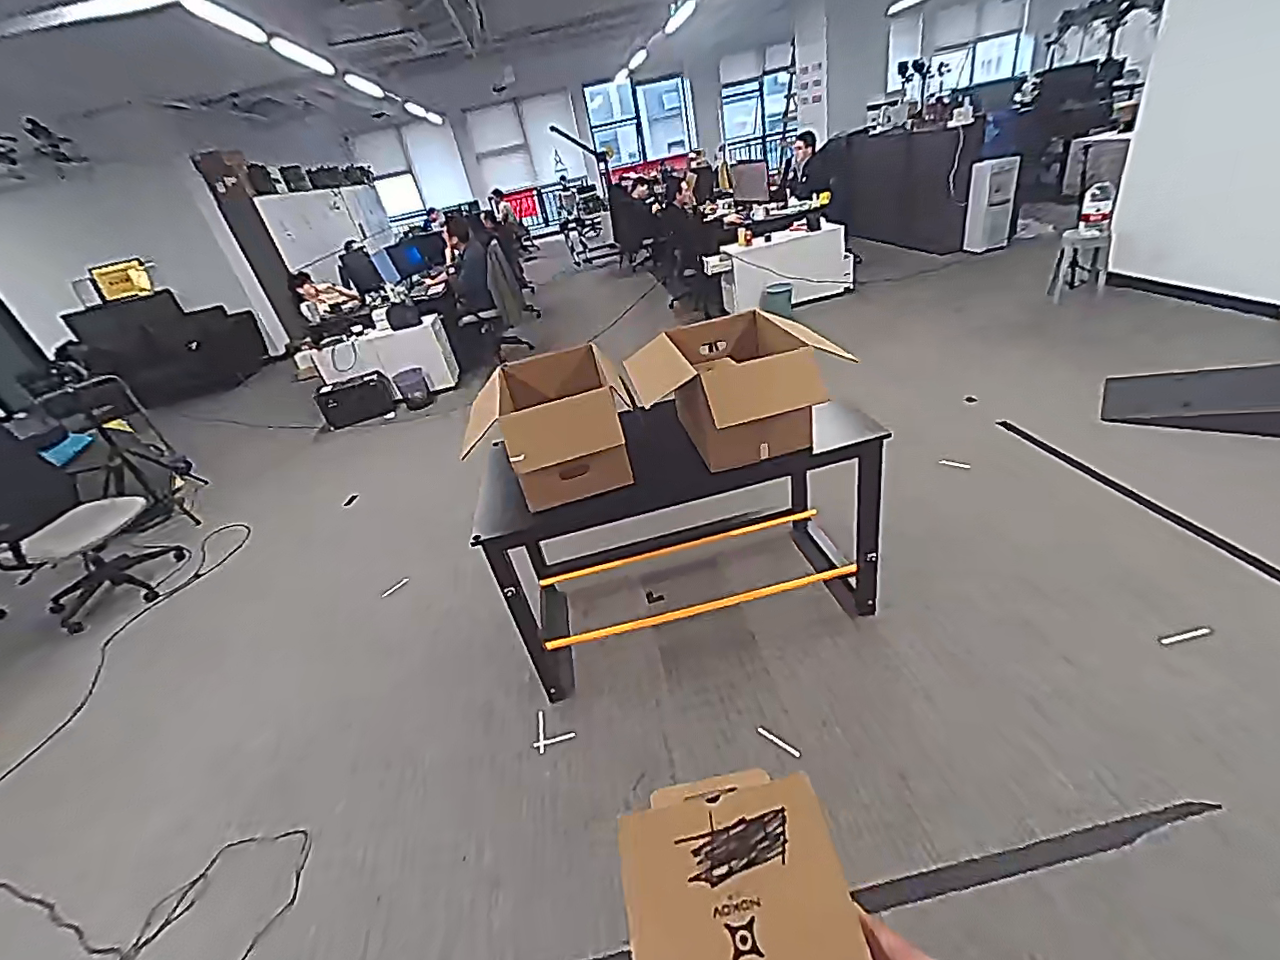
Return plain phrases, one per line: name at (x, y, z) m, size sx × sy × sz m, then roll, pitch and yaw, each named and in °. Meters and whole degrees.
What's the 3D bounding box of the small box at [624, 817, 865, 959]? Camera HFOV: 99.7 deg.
small box at (0.086, 0.405, 0.436) m, size 0.168 × 0.176 × 0.179 m, roll -12°, pitch 47°, yaw -2°
